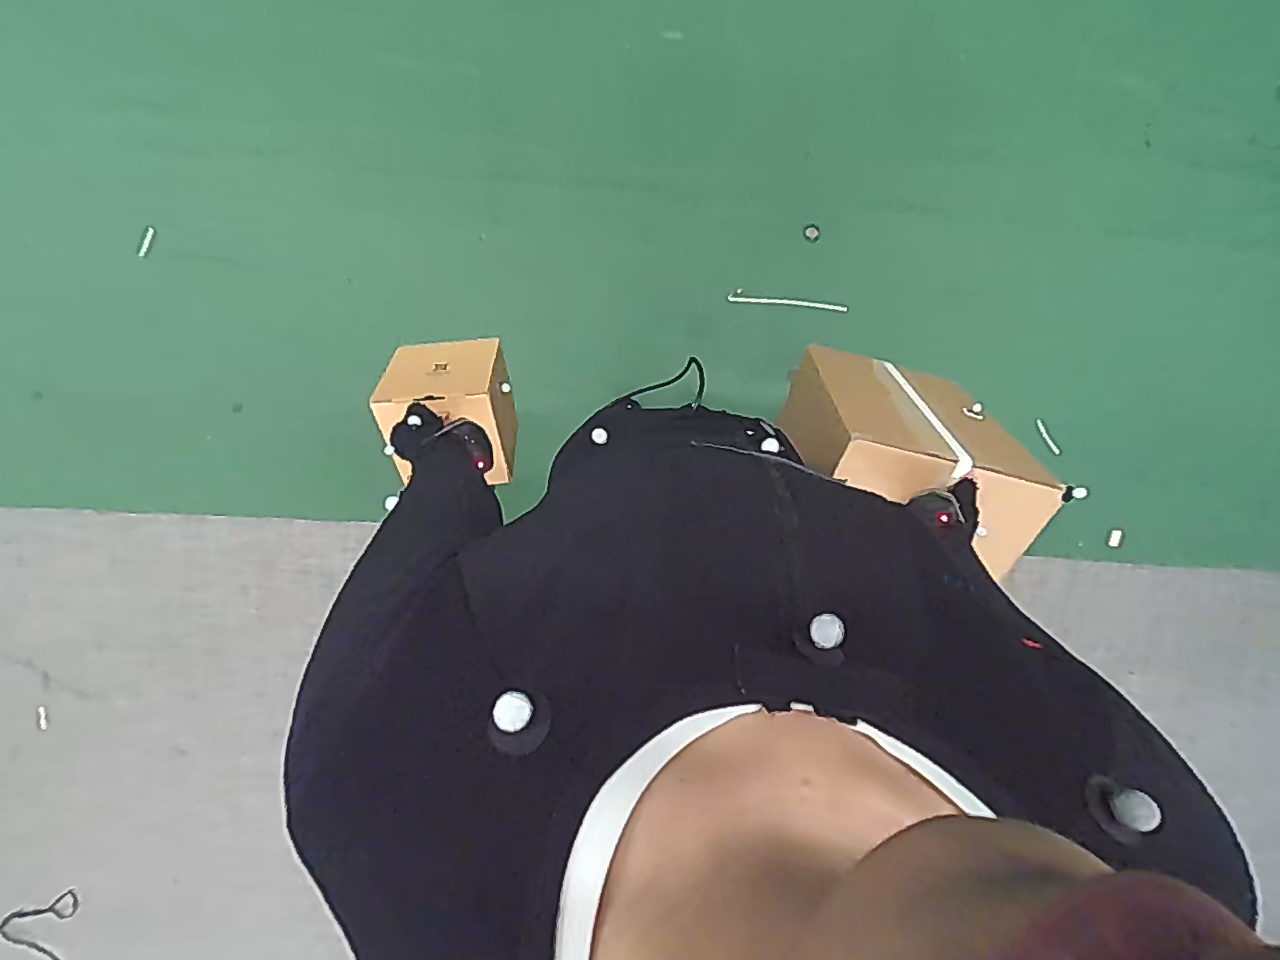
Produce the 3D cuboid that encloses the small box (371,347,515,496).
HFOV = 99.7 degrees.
[{"bbox_3d":[-0.303,-0.097,0.878,0.168,0.179,0.176,-6,130,-3],"label":"small box"}]
